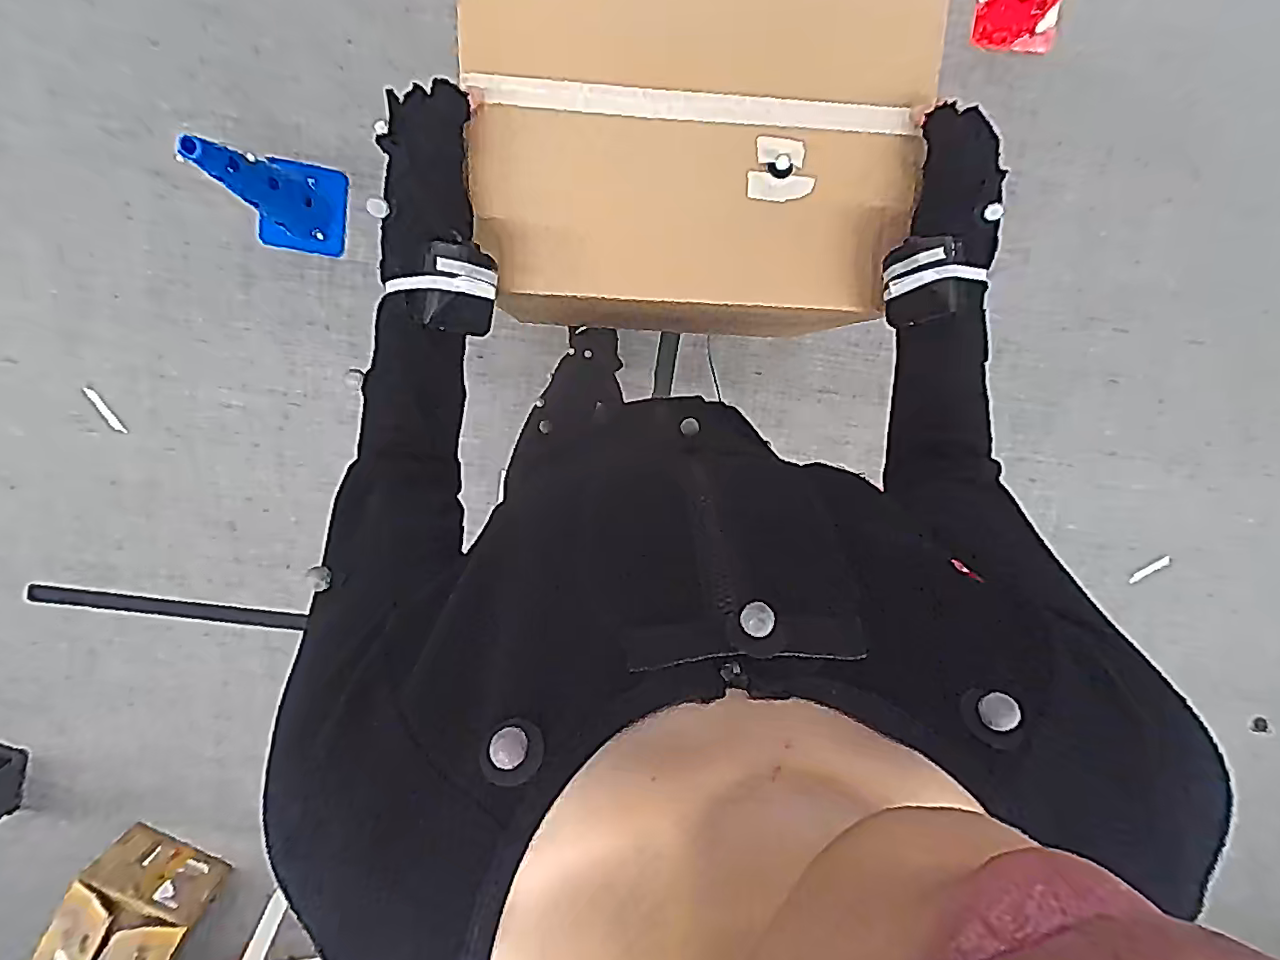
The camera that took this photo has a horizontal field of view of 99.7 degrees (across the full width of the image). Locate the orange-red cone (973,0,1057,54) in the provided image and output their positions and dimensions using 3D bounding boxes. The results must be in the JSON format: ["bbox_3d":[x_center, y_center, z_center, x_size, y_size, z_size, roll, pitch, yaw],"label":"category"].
[{"bbox_3d":[0.906,-1.105,1.115,0.198,0.360,0.199,5,99,-4],"label":"orange-red cone"}]

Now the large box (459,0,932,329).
[{"bbox_3d":[0.036,-0.348,0.608,0.408,0.320,0.320,1,101,-5],"label":"large box"}]

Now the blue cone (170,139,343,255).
[{"bbox_3d":[-0.817,-0.623,1.148,0.192,0.380,0.193,11,100,-3],"label":"blue cone"}]
